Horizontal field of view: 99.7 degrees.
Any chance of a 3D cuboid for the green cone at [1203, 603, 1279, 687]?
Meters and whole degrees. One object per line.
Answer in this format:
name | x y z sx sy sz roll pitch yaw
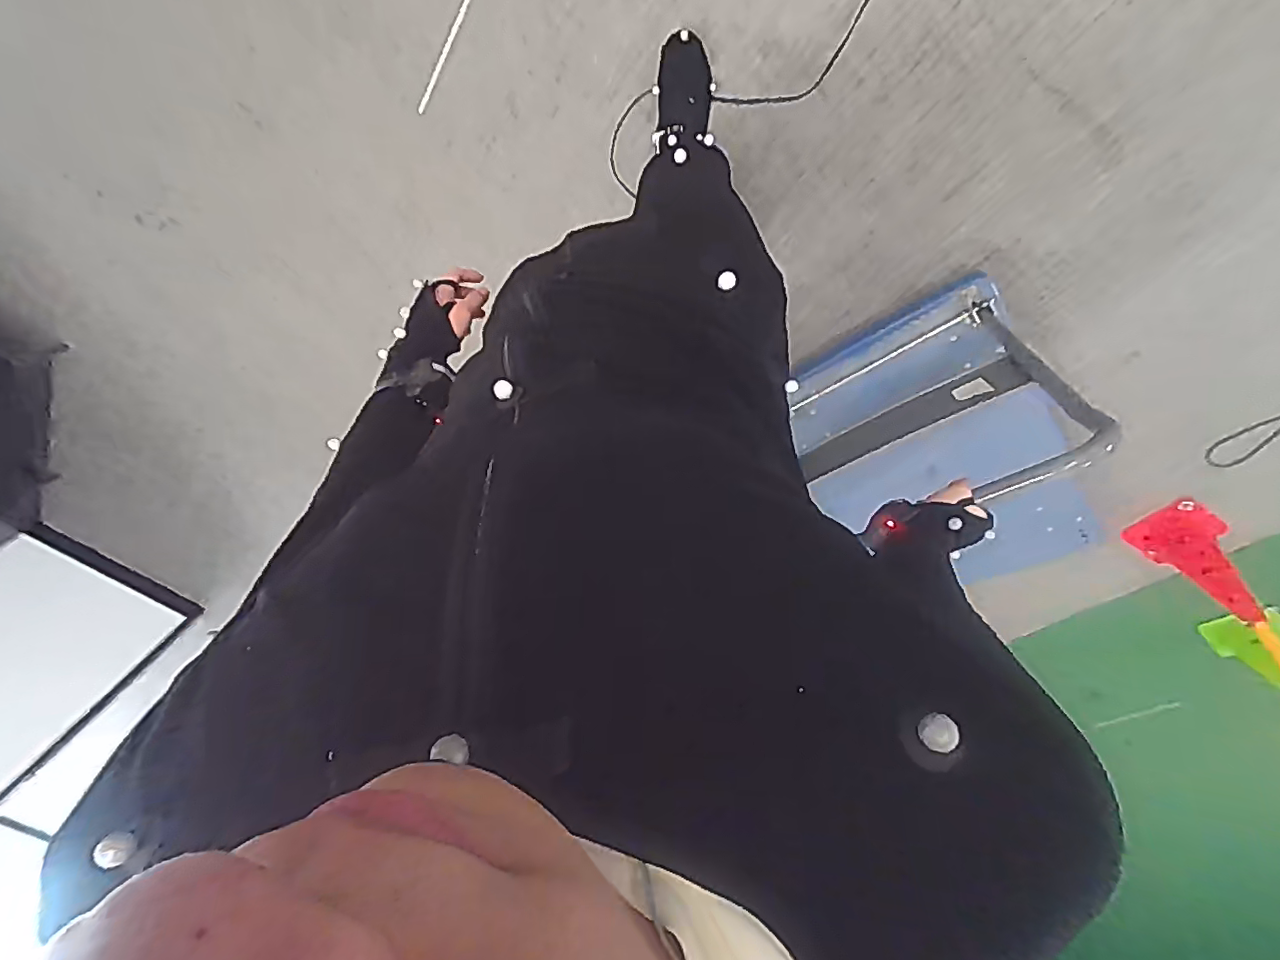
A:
green cone | 1.961 0.589 1.626 0.202 0.368 0.200 37 124 -16
